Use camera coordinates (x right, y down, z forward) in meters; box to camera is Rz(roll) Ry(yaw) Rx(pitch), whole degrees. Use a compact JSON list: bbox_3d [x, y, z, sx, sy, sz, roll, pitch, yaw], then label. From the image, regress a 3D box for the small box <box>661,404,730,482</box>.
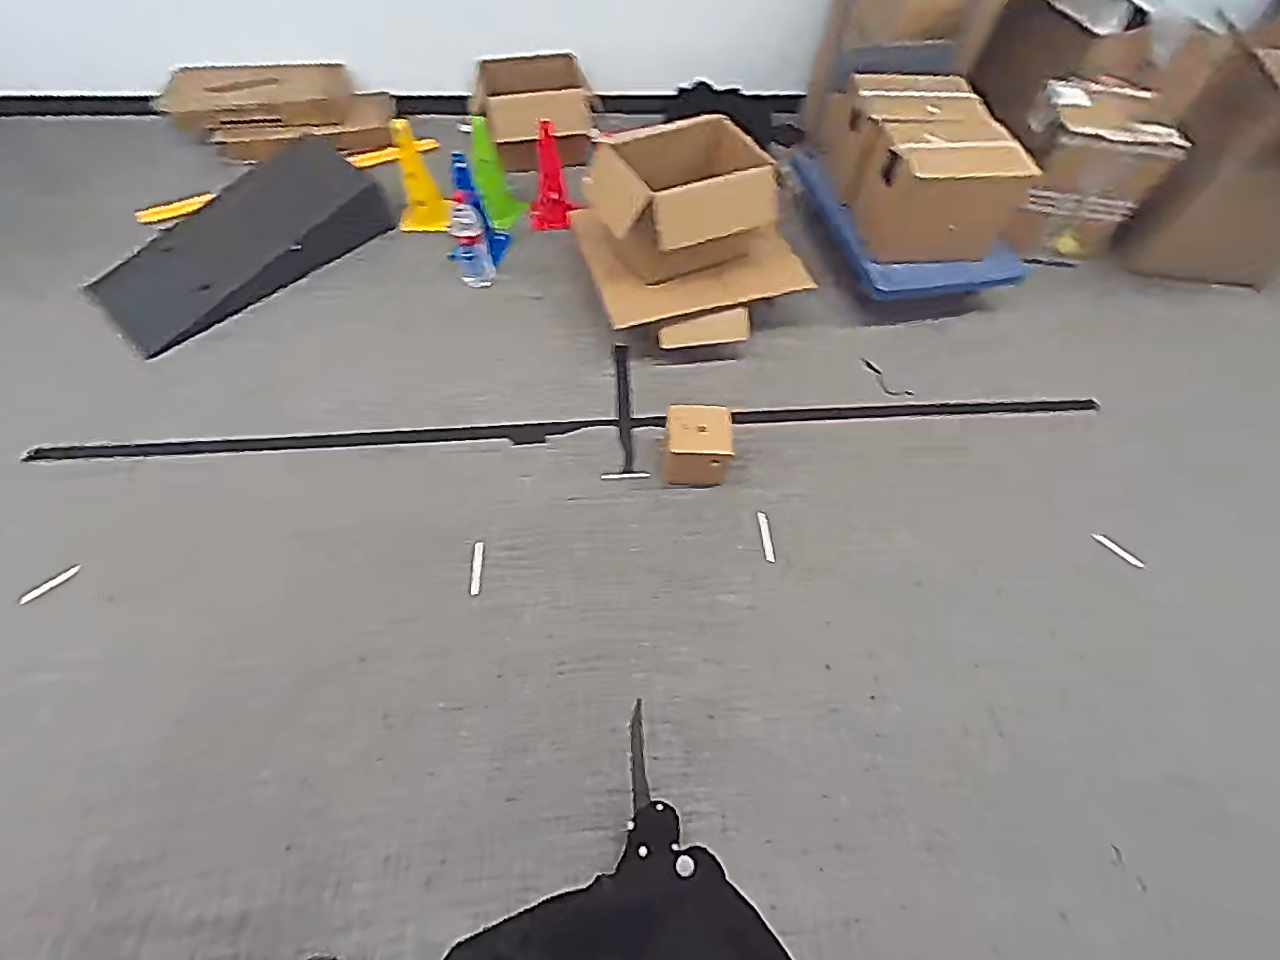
[{"bbox_3d":[0.156,-0.104,1.575,0.179,0.176,0.168,1,59,-3],"label":"small box"}]
